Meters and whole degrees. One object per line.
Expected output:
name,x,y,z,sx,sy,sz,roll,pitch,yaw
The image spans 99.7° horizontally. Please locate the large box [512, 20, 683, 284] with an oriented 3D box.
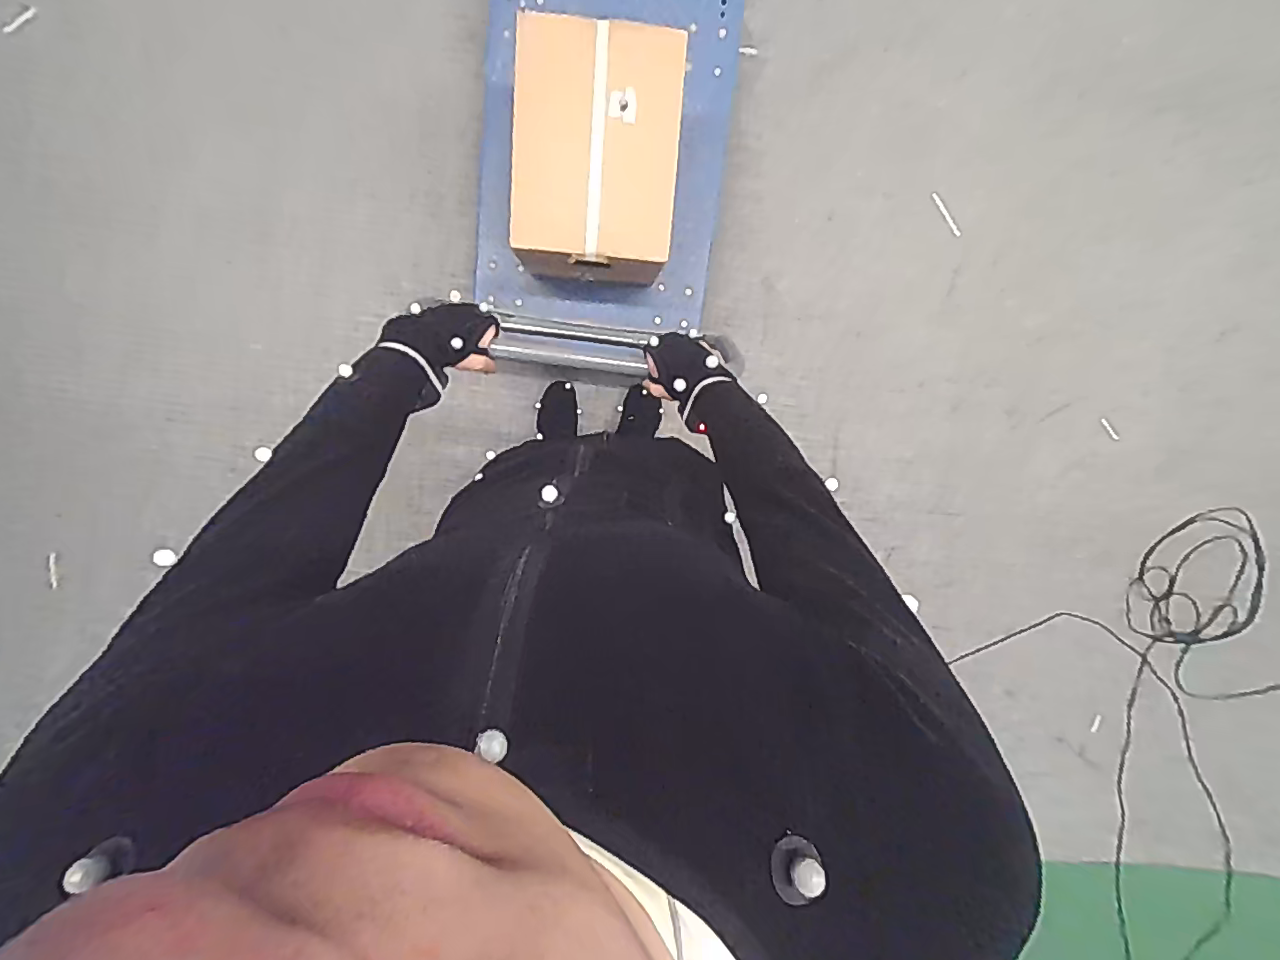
large box,-0.091,-0.664,1.174,0.320,0.320,0.408,4,102,-5
